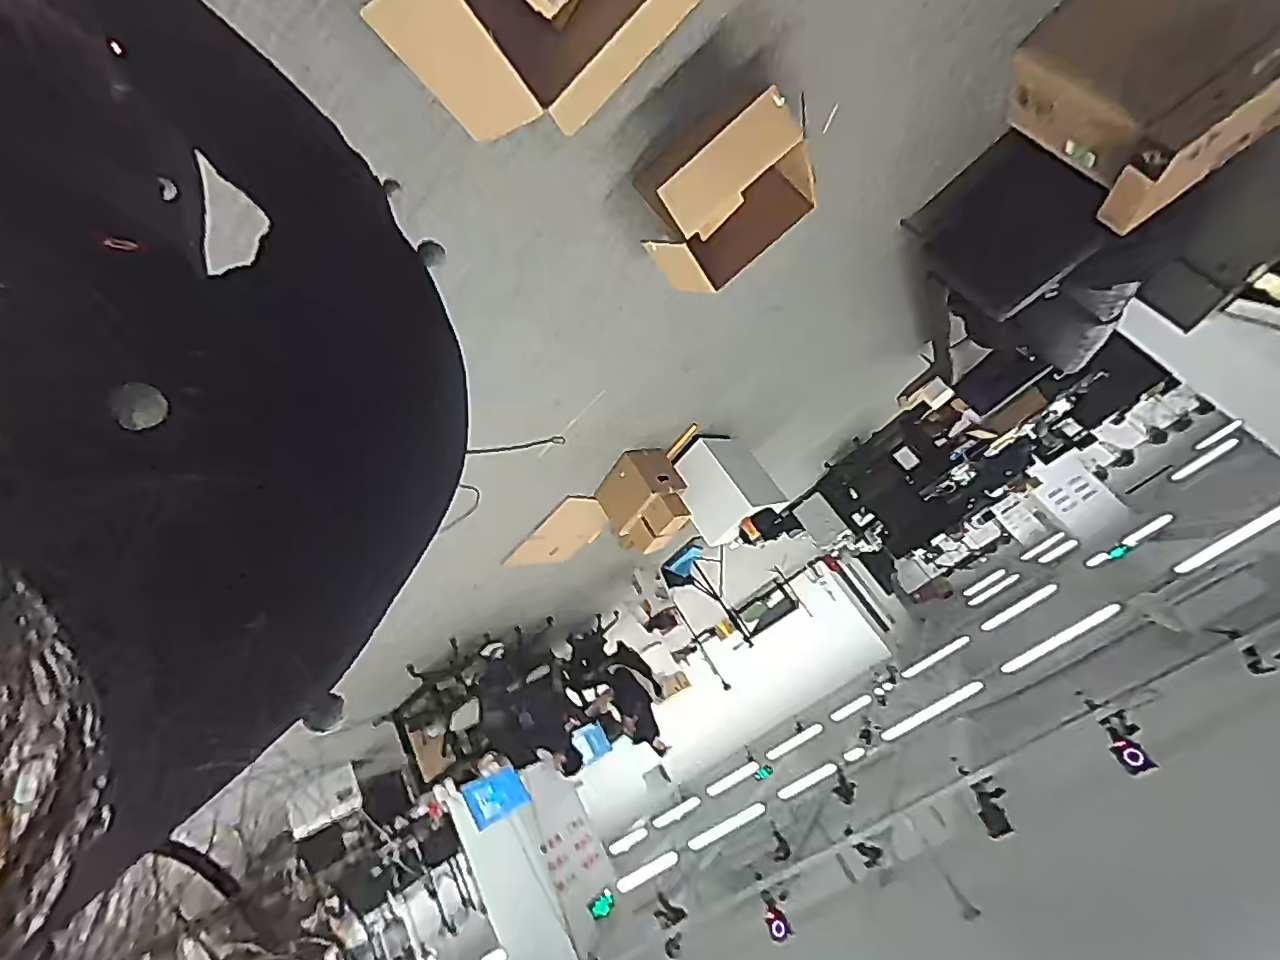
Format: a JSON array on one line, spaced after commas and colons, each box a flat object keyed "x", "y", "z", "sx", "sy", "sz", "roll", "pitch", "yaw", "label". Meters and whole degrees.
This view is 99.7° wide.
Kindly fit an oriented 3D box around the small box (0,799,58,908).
[{"x": -1.414, "y": 0.829, "z": 1.174, "sx": 0.179, "sy": 0.176, "sz": 0.168, "roll": -42, "pitch": 156, "yaw": 22, "label": "small box"}]
